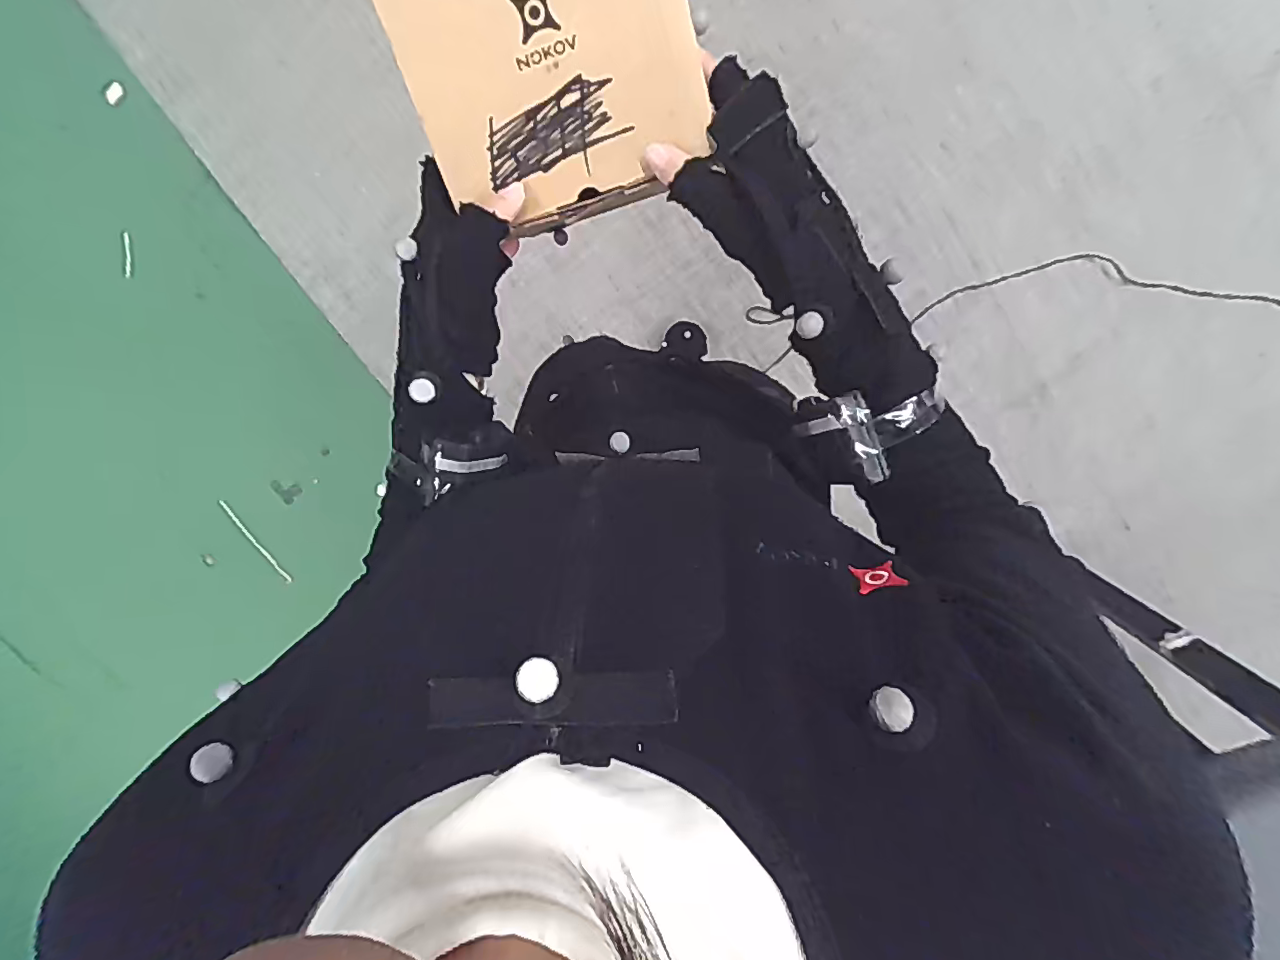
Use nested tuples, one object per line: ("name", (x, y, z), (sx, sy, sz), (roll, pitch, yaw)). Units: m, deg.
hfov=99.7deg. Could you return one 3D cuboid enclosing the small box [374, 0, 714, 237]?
("small box", (-0.051, -0.290, 0.372), (0.168, 0.176, 0.179), (-16, 114, 12))
